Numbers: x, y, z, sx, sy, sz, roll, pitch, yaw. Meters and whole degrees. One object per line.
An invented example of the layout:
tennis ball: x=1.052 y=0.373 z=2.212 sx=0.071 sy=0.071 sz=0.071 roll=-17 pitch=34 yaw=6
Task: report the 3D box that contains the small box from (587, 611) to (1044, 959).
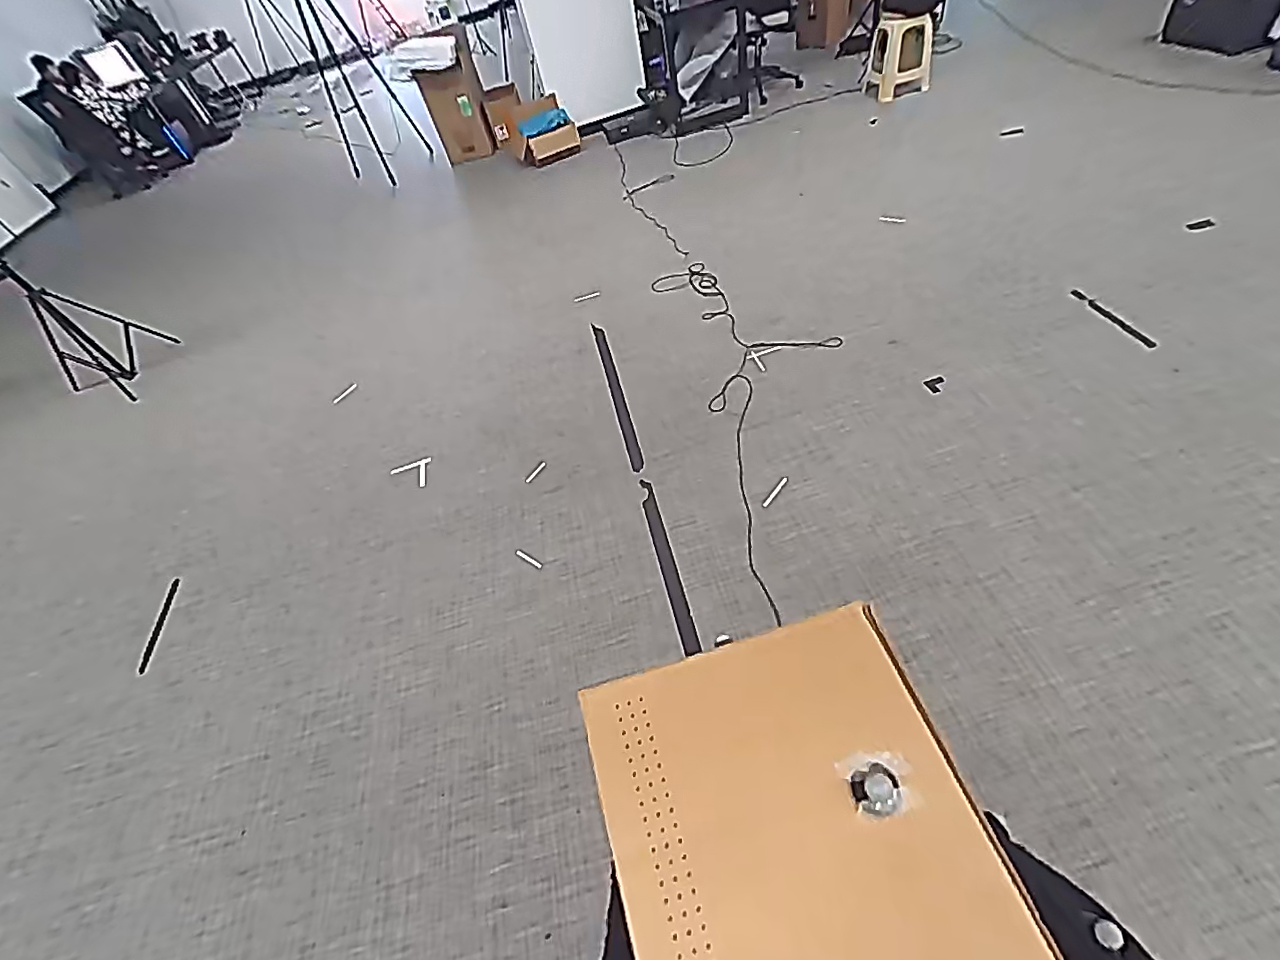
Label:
small box: x=0.075 y=0.208 z=0.324 sx=0.176 sy=0.168 sz=0.179 roll=-18 pitch=58 yaw=-3
